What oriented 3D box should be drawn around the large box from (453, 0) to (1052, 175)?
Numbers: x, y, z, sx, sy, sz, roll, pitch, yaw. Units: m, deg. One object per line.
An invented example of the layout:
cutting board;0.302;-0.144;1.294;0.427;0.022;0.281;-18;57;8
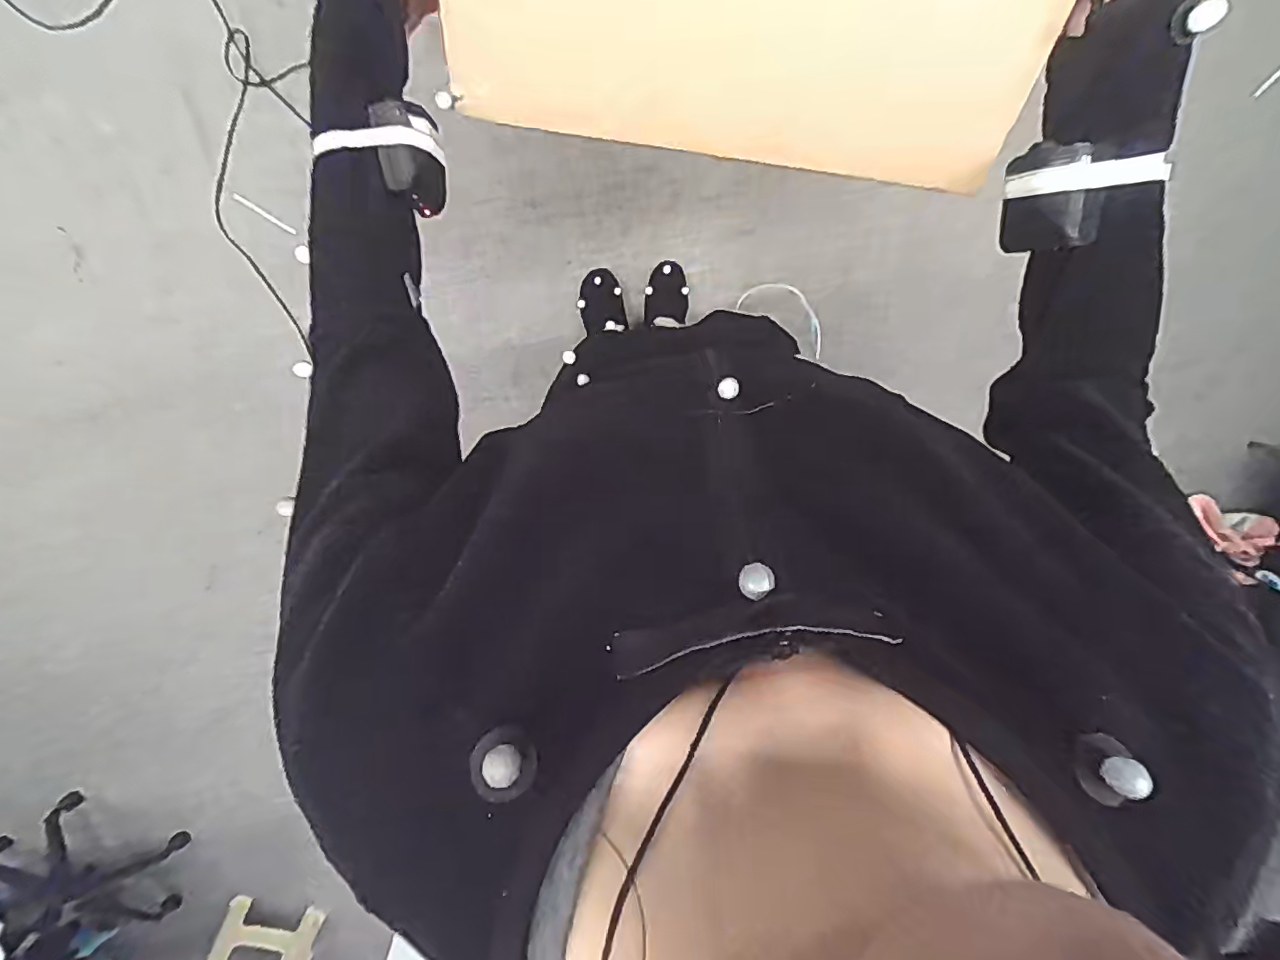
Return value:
large box;0.094;-0.470;0.418;0.408;0.320;0.320;11;134;5
